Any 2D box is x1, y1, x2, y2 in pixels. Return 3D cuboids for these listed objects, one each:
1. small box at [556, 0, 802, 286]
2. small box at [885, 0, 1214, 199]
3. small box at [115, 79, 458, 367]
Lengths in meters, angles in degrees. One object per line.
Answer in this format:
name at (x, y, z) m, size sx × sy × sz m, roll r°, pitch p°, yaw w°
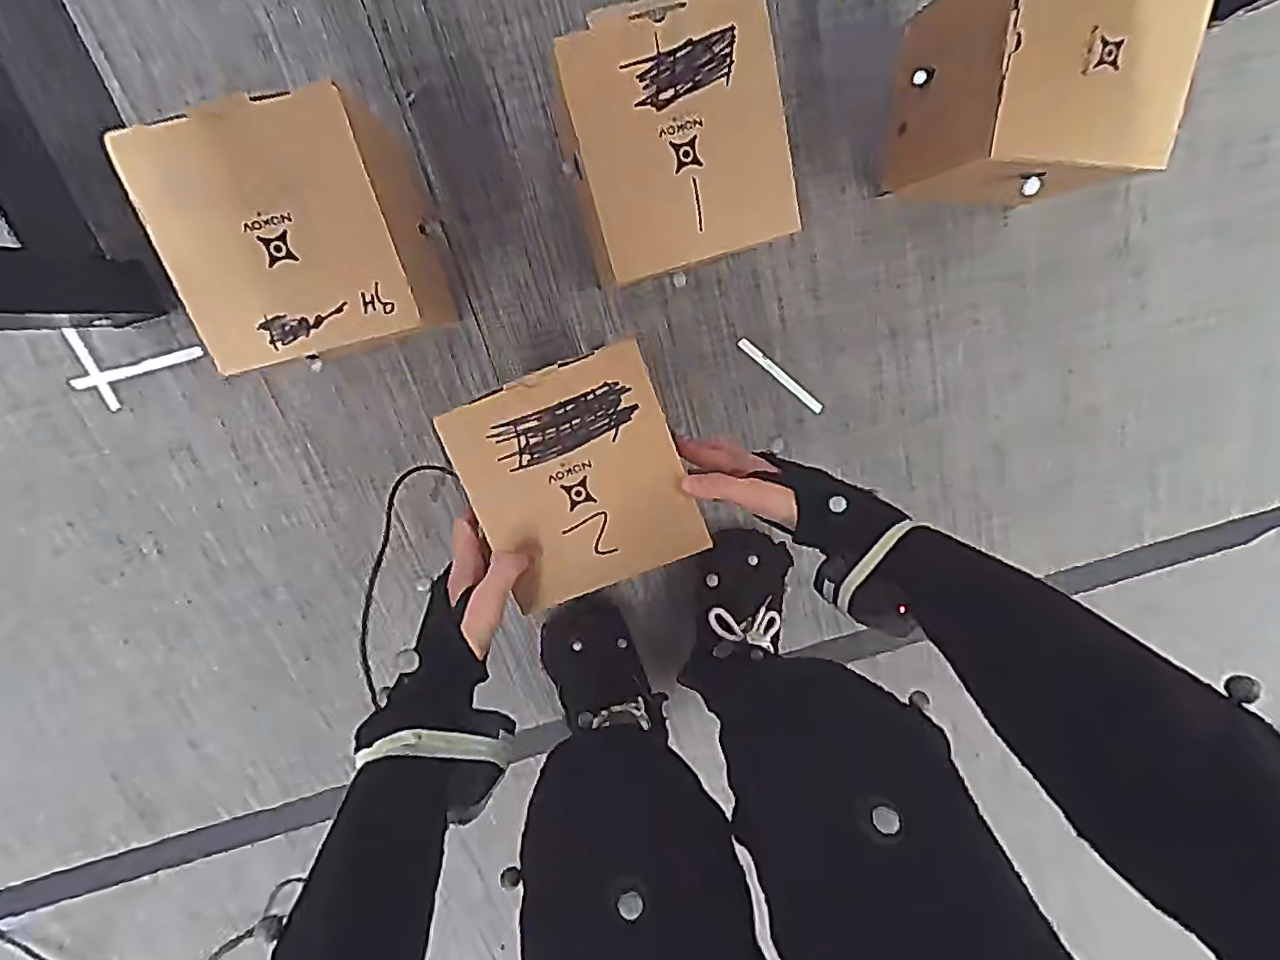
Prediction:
small box at (0.025, -0.290, 0.495) m, size 0.168 × 0.176 × 0.179 m, roll -17°, pitch 109°, yaw -2°
small box at (0.371, -0.377, 0.517) m, size 0.179 × 0.176 × 0.168 m, roll 0°, pitch 107°, yaw -7°
small box at (-0.280, -0.207, 0.481) m, size 0.168 × 0.176 × 0.179 m, roll -15°, pitch 107°, yaw -3°
